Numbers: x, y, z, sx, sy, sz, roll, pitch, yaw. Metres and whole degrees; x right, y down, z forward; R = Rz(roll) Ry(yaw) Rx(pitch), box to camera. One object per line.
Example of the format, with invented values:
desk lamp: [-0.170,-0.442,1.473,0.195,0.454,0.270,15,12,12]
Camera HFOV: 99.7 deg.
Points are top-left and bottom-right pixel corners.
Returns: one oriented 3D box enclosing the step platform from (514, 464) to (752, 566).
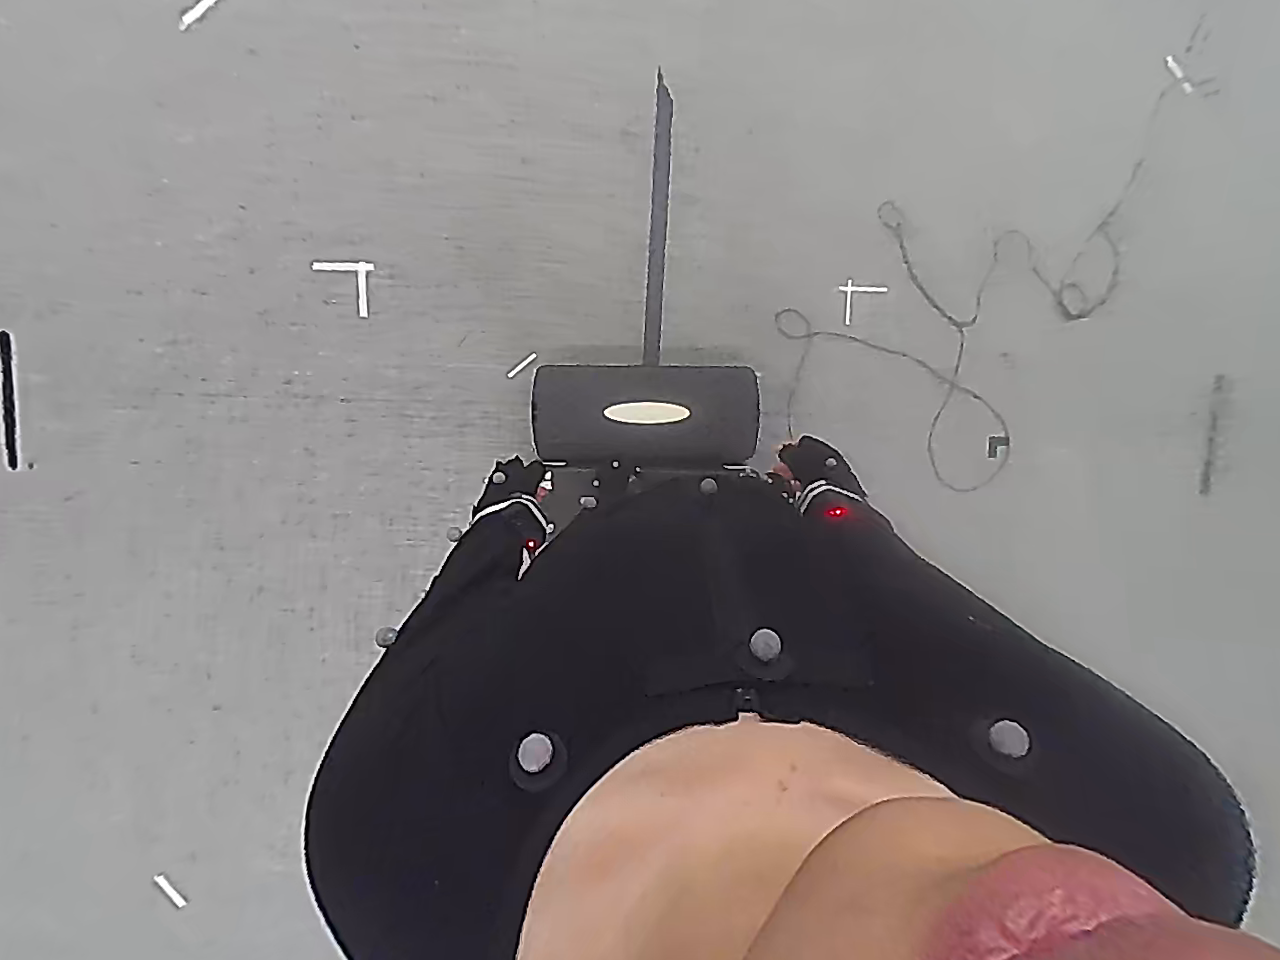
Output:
step platform: [-0.019,0.098,1.582,0.684,0.204,0.286,0,94,-2]
